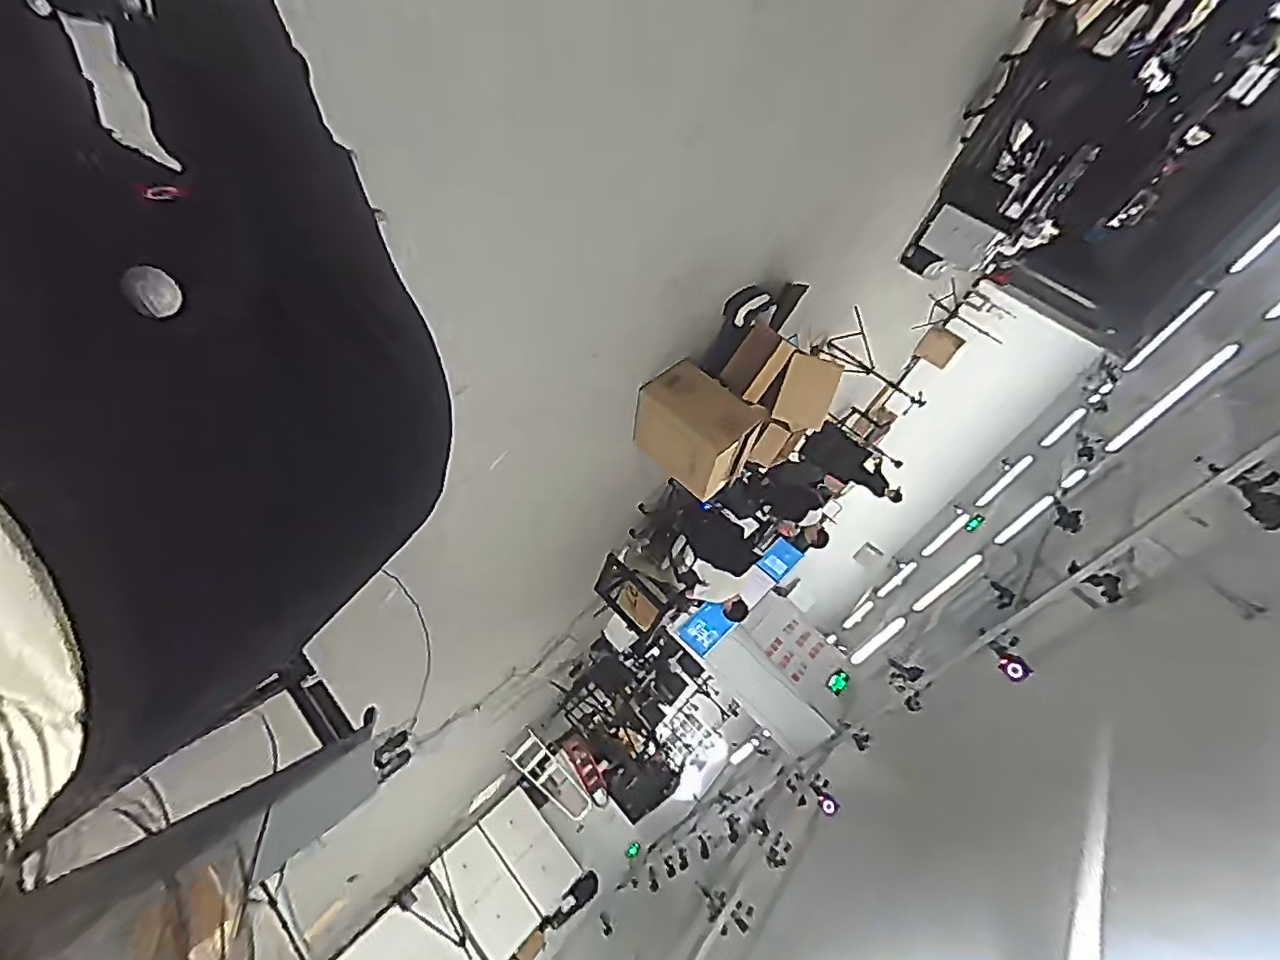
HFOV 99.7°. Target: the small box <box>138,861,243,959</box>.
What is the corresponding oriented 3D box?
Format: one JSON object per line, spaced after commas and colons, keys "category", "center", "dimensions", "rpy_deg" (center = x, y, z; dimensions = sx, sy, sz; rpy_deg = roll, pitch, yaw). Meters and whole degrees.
{"category": "small box", "center": [-1.230, 1.199, 1.479], "dimensions": [0.179, 0.176, 0.168], "rpy_deg": [-26, 154, -44]}
